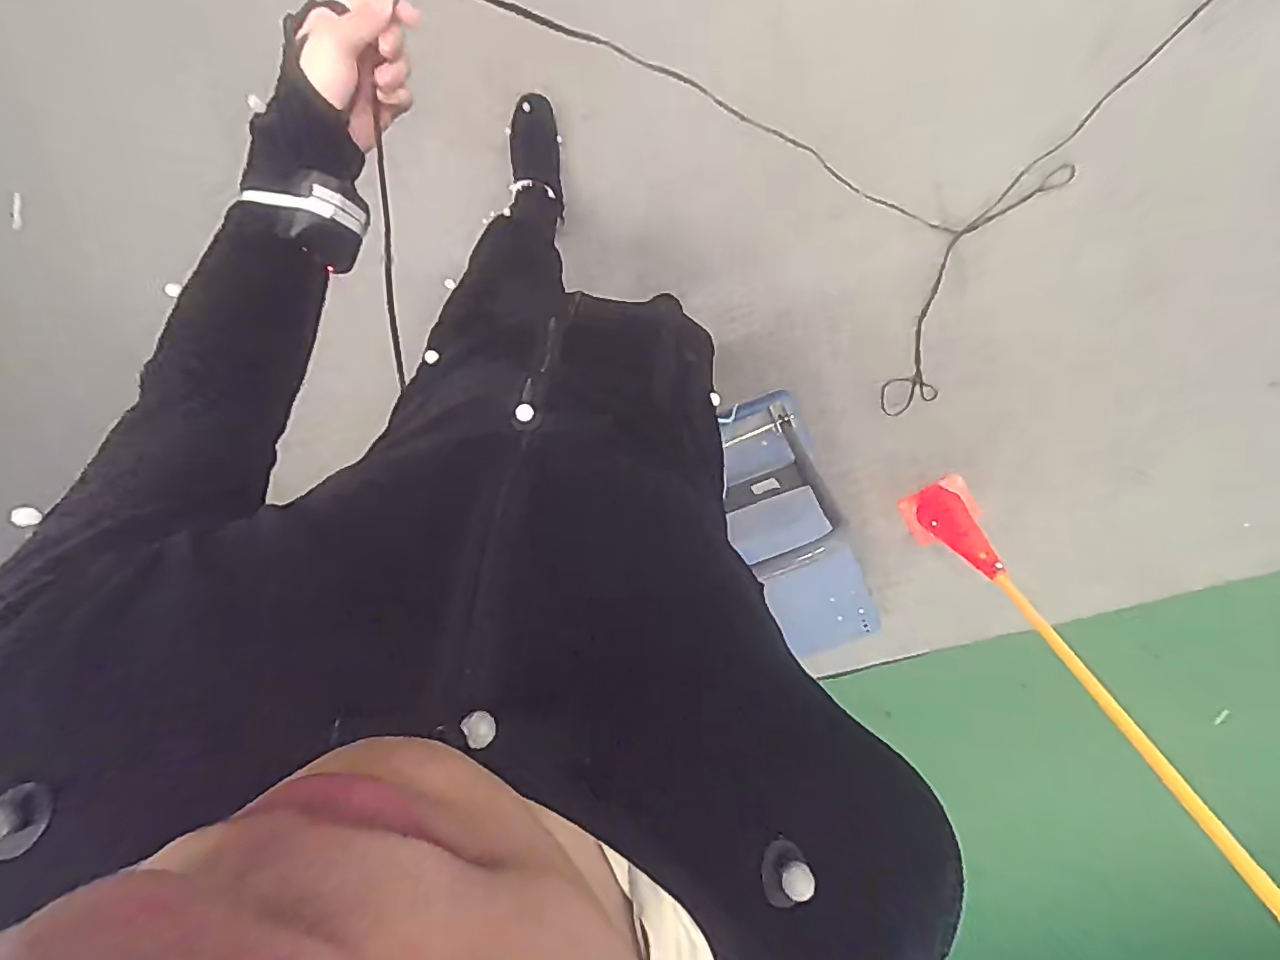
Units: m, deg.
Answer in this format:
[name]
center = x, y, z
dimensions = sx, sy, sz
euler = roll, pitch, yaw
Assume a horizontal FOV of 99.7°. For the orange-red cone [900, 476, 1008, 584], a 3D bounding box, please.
[orange-red cone]
center = 0.937, 0.173, 1.552
dimensions = 0.199, 0.360, 0.198
euler = -31, 113, 15
